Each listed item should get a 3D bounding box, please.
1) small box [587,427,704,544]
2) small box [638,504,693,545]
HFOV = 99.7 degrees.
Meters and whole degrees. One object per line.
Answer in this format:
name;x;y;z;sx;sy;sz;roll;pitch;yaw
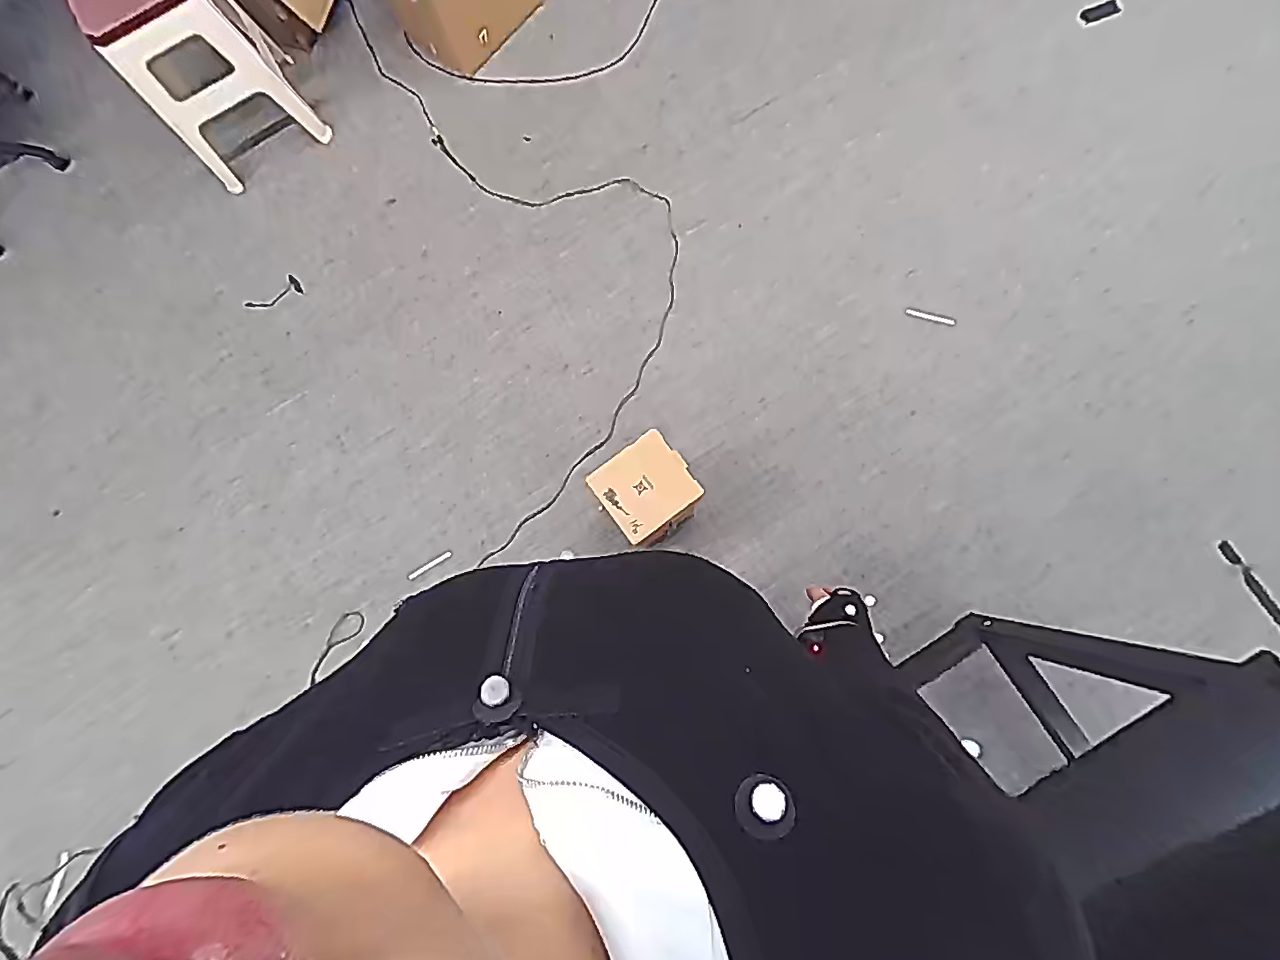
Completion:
small box;0.011;0.019;1.132;0.179;0.176;0.168;-37;81;-4
small box;0.024;0.062;1.456;0.179;0.176;0.168;-36;81;-2
